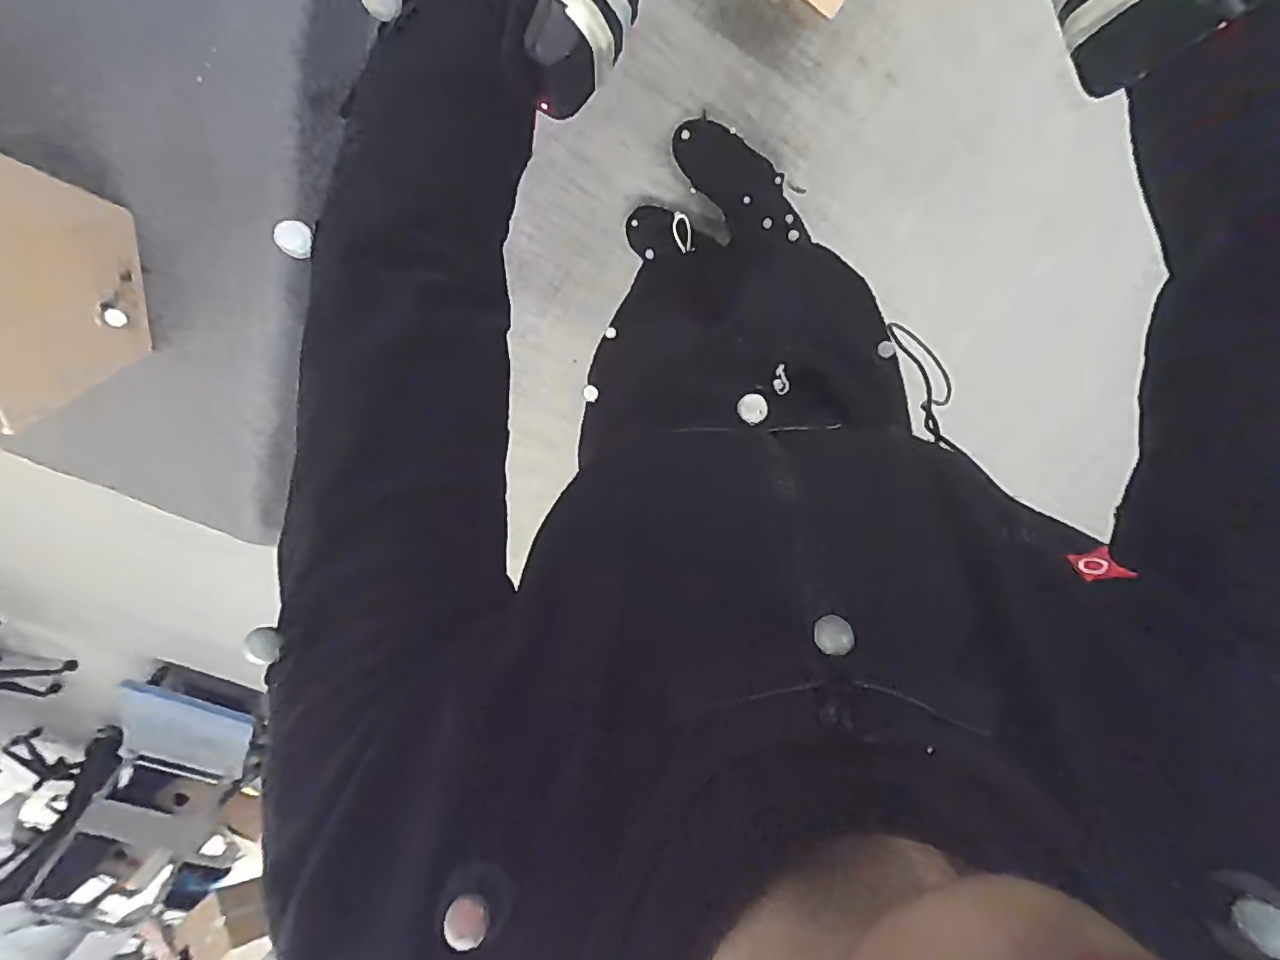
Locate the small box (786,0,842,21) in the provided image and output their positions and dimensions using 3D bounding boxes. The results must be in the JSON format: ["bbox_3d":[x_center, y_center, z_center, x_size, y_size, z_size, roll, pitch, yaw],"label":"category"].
[{"bbox_3d":[0.262,-0.823,0.797,0.168,0.176,0.179,26,128,-13],"label":"small box"}]
